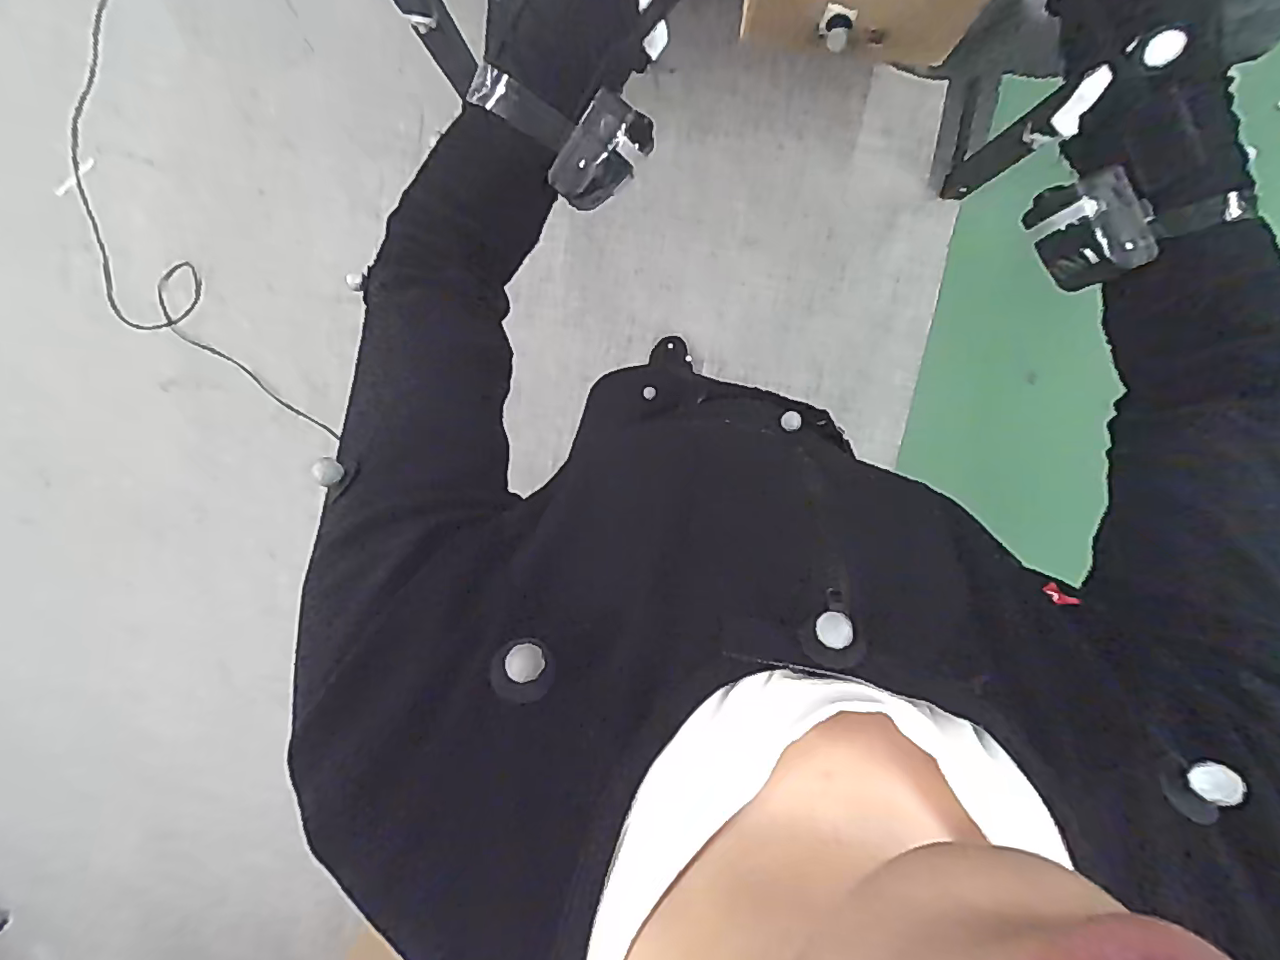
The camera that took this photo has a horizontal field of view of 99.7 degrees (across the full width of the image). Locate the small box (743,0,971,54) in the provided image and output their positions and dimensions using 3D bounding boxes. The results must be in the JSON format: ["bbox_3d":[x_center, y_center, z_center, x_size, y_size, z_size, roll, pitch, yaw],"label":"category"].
[{"bbox_3d":[0.168,-0.432,0.351,0.168,0.176,0.179,7,97,1],"label":"small box"}]
